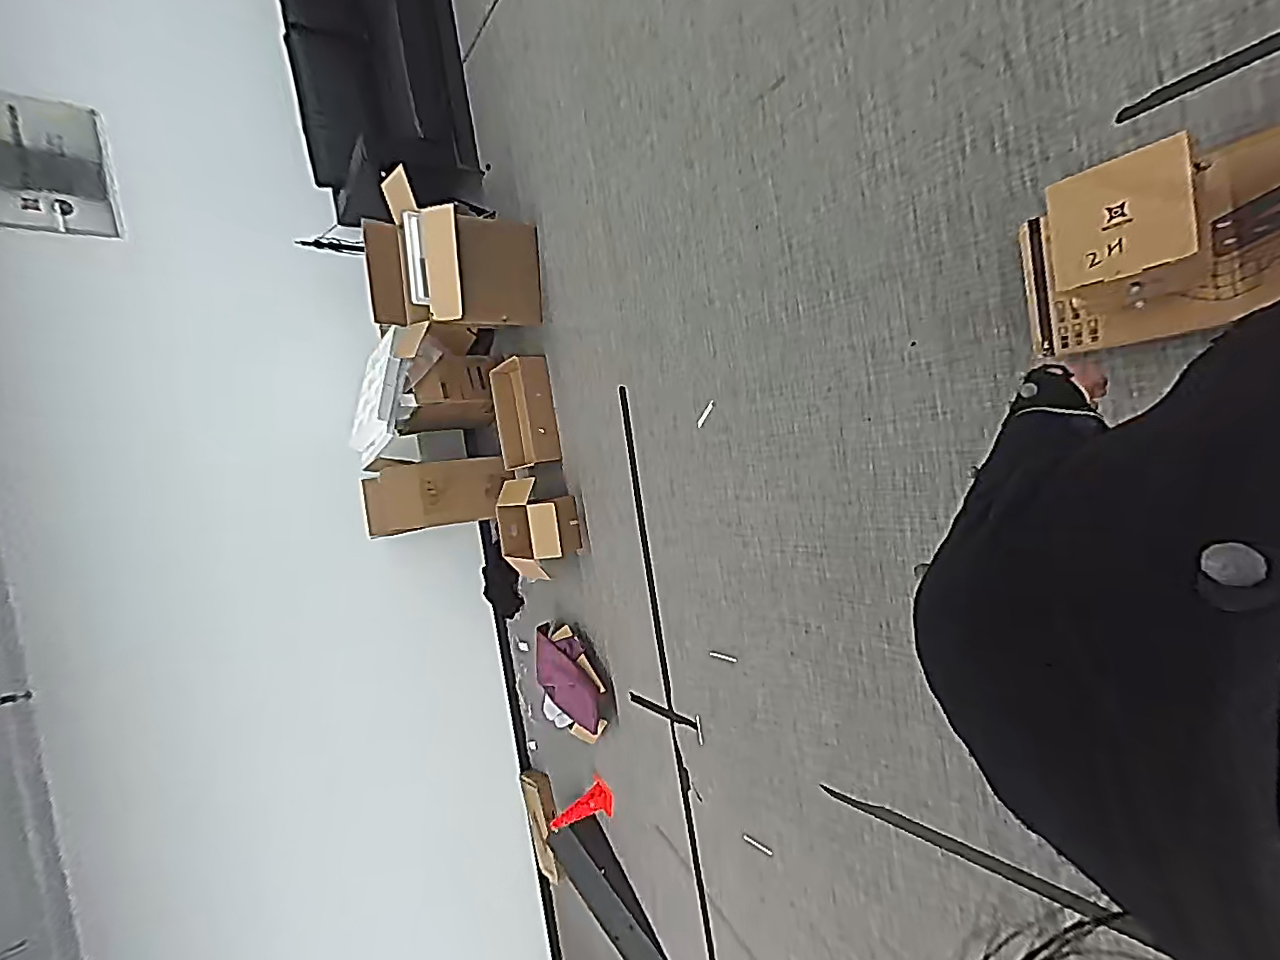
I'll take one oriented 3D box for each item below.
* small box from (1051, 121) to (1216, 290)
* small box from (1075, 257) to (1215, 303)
[{"bbox_3d":[0.781,-0.416,0.856,0.168,0.176,0.179,-4,95,53],"label":"small box"},{"bbox_3d":[0.900,-0.432,0.972,0.168,0.176,0.179,-7,93,53],"label":"small box"}]
